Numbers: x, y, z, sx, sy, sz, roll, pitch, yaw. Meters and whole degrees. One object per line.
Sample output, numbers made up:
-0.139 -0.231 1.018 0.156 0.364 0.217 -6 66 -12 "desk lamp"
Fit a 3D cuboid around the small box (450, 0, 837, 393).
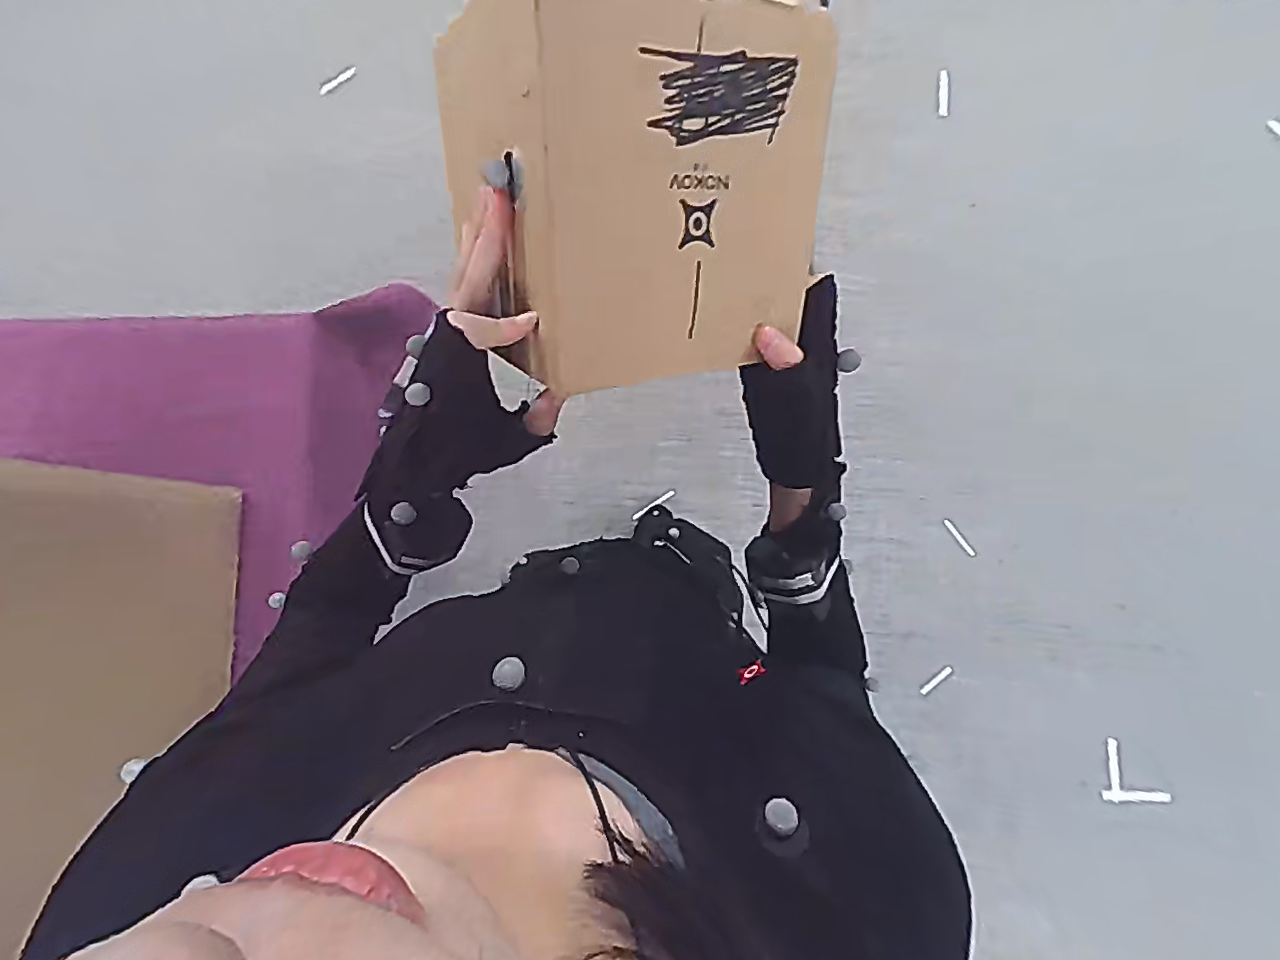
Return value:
-0.009 -0.167 0.338 0.168 0.176 0.179 -14 119 -27 "small box"
